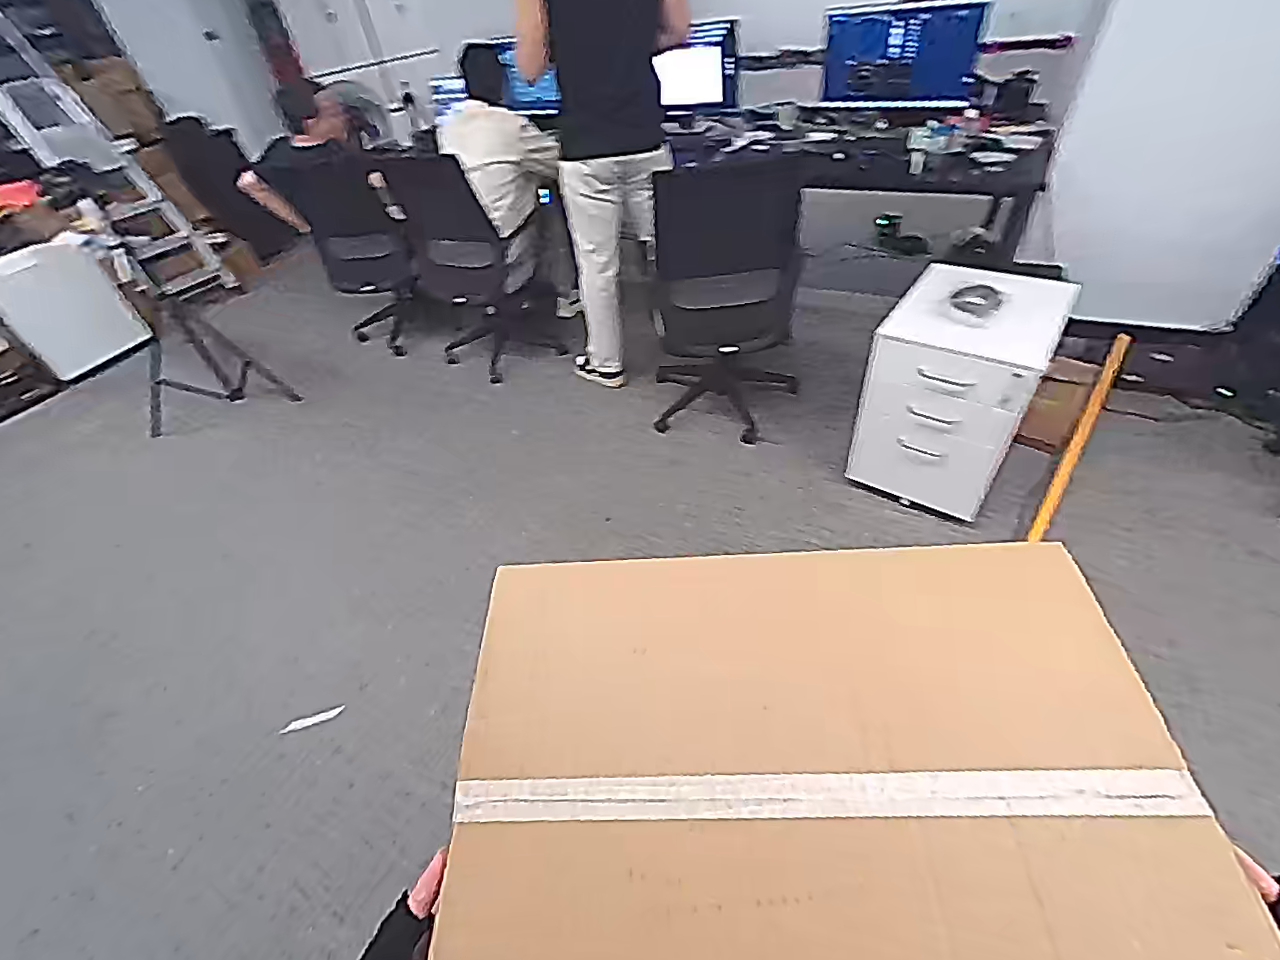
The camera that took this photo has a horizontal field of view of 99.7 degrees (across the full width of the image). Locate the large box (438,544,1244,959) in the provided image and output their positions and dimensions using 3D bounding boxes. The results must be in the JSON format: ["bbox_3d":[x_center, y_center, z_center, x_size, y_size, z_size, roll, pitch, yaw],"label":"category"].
[{"bbox_3d":[0.102,0.274,0.433,0.408,0.320,0.320,-4,53,4],"label":"large box"}]
